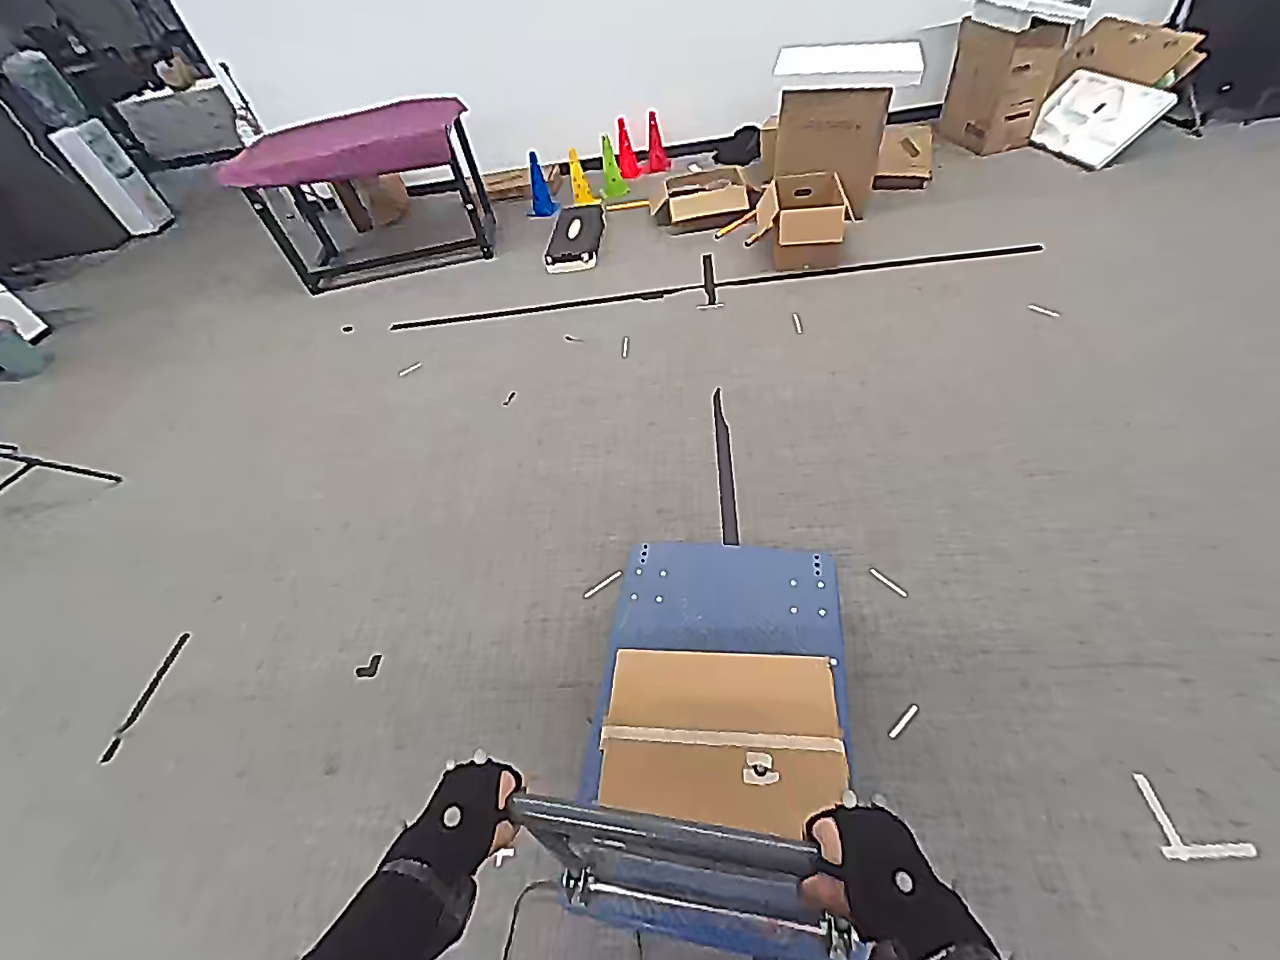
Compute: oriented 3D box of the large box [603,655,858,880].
[{"bbox_3d":[0.161,0.555,1.048,0.408,0.320,0.320,-1,49,8],"label":"large box"}]
